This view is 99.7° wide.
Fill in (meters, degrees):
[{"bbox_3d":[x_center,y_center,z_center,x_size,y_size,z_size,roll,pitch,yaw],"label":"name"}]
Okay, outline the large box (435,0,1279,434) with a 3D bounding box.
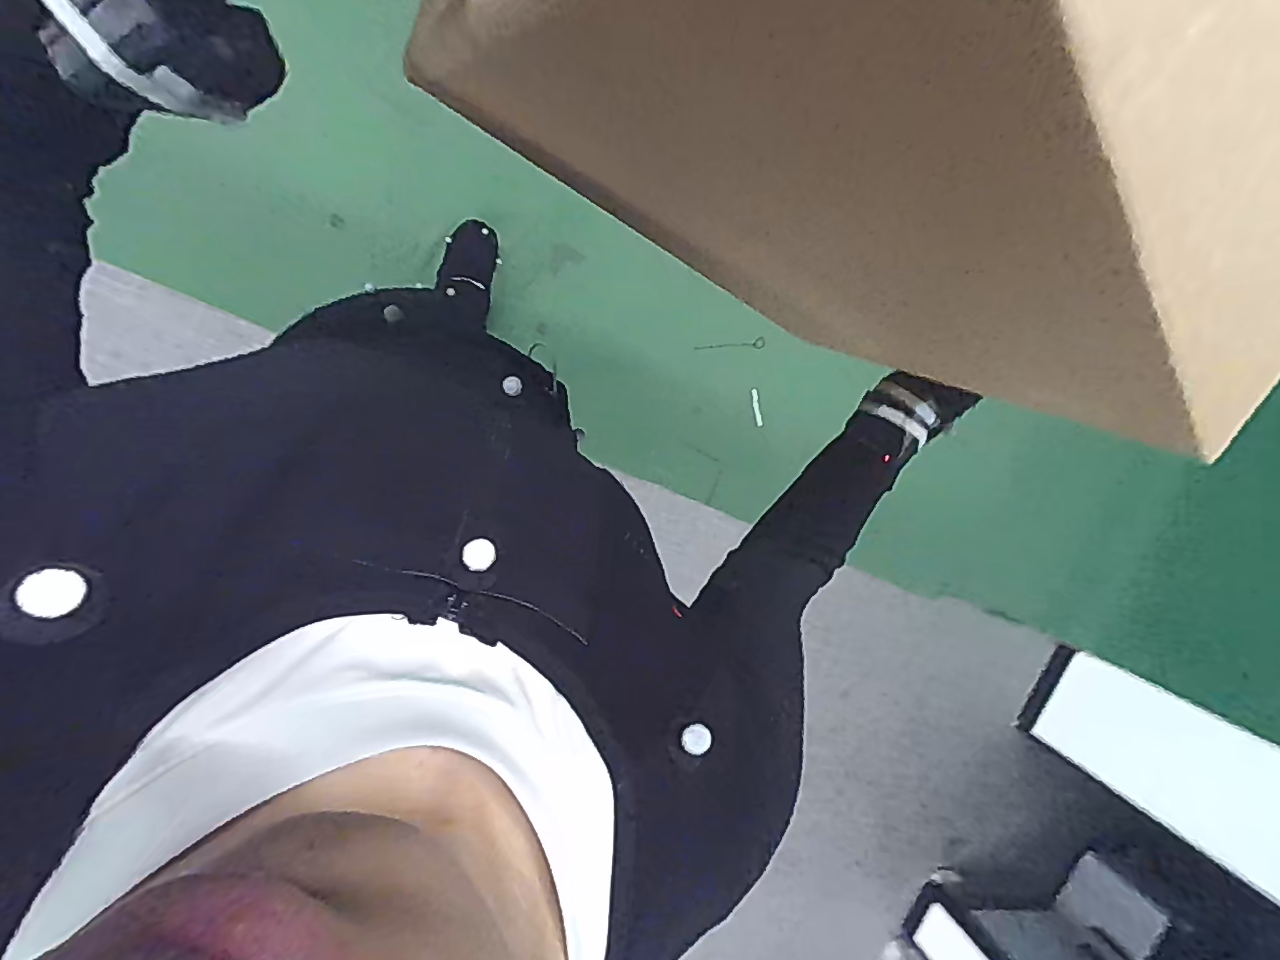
[{"bbox_3d":[0.171,-0.258,0.277,0.408,0.320,0.320,15,107,-41],"label":"large box"}]
